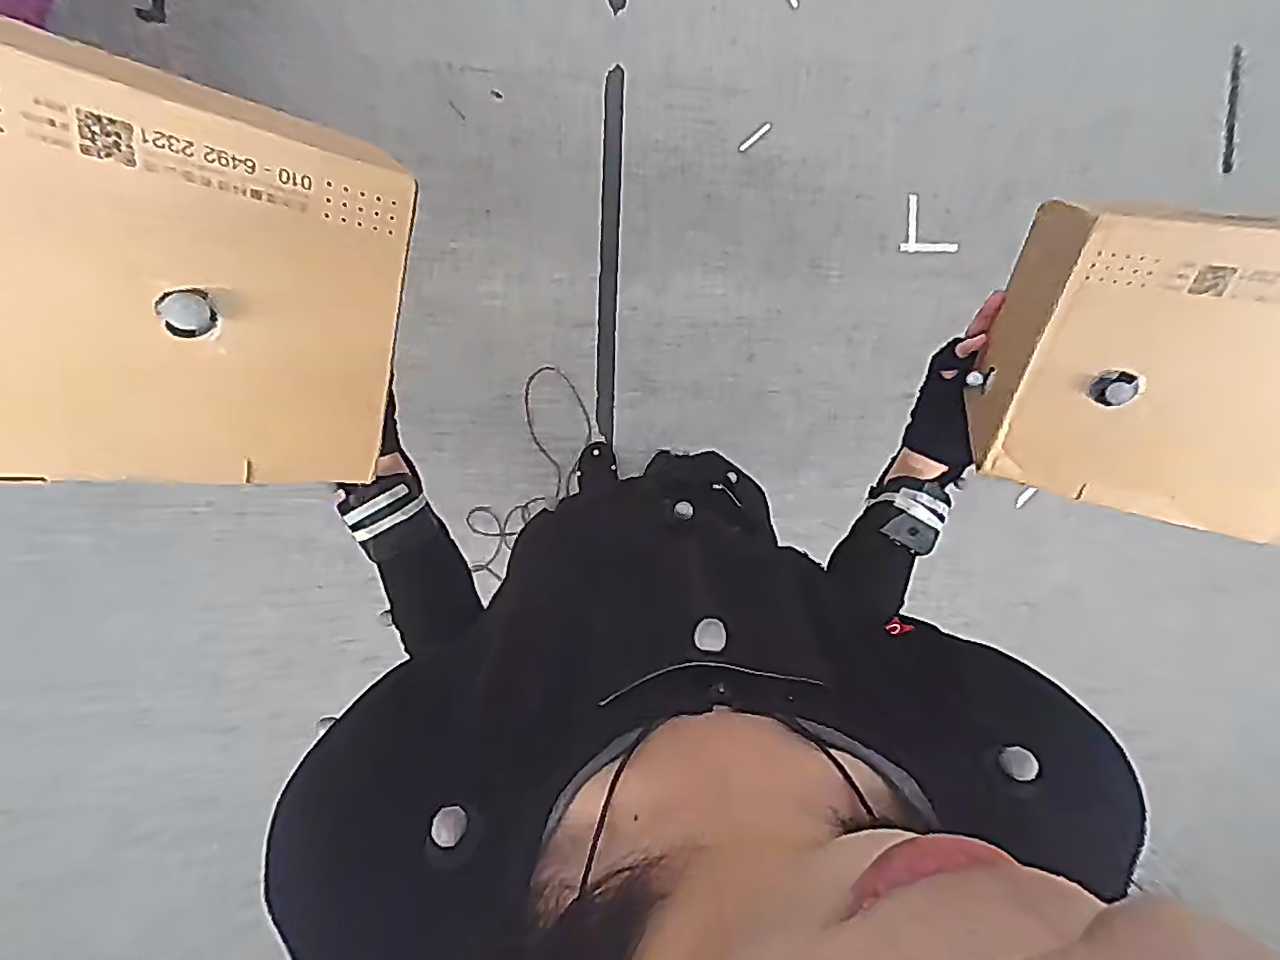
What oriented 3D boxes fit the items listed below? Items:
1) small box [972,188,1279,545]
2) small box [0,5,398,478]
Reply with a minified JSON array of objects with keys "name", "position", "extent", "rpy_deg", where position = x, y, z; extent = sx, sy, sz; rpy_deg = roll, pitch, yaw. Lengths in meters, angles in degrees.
[{"name":"small box","position":[0.345,-0.090,0.355],"extent":[0.168,0.179,0.176],"rpy_deg":[18,125,19]},{"name":"small box","position":[-0.231,-0.115,0.279],"extent":[0.168,0.179,0.176],"rpy_deg":[2,120,-35]}]
